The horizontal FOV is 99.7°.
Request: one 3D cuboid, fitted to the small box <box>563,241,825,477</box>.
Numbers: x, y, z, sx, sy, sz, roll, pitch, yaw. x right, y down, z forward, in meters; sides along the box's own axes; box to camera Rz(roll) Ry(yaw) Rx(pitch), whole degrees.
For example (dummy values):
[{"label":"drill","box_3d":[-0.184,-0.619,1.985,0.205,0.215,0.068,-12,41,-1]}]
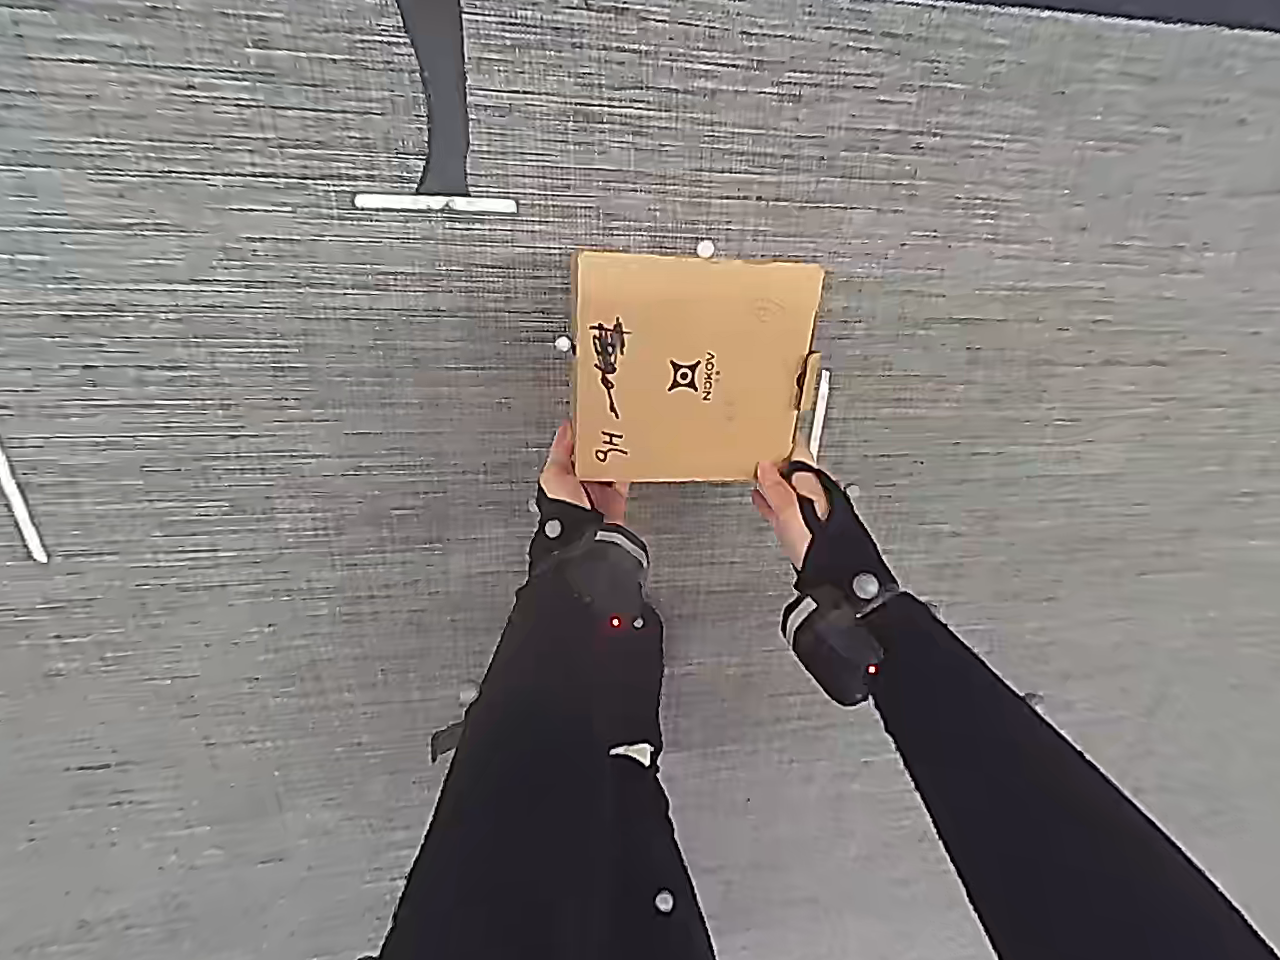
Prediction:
[{"label":"small box","box_3d":[0.026,-0.110,0.464,0.179,0.176,0.168,0,113,-10]}]
